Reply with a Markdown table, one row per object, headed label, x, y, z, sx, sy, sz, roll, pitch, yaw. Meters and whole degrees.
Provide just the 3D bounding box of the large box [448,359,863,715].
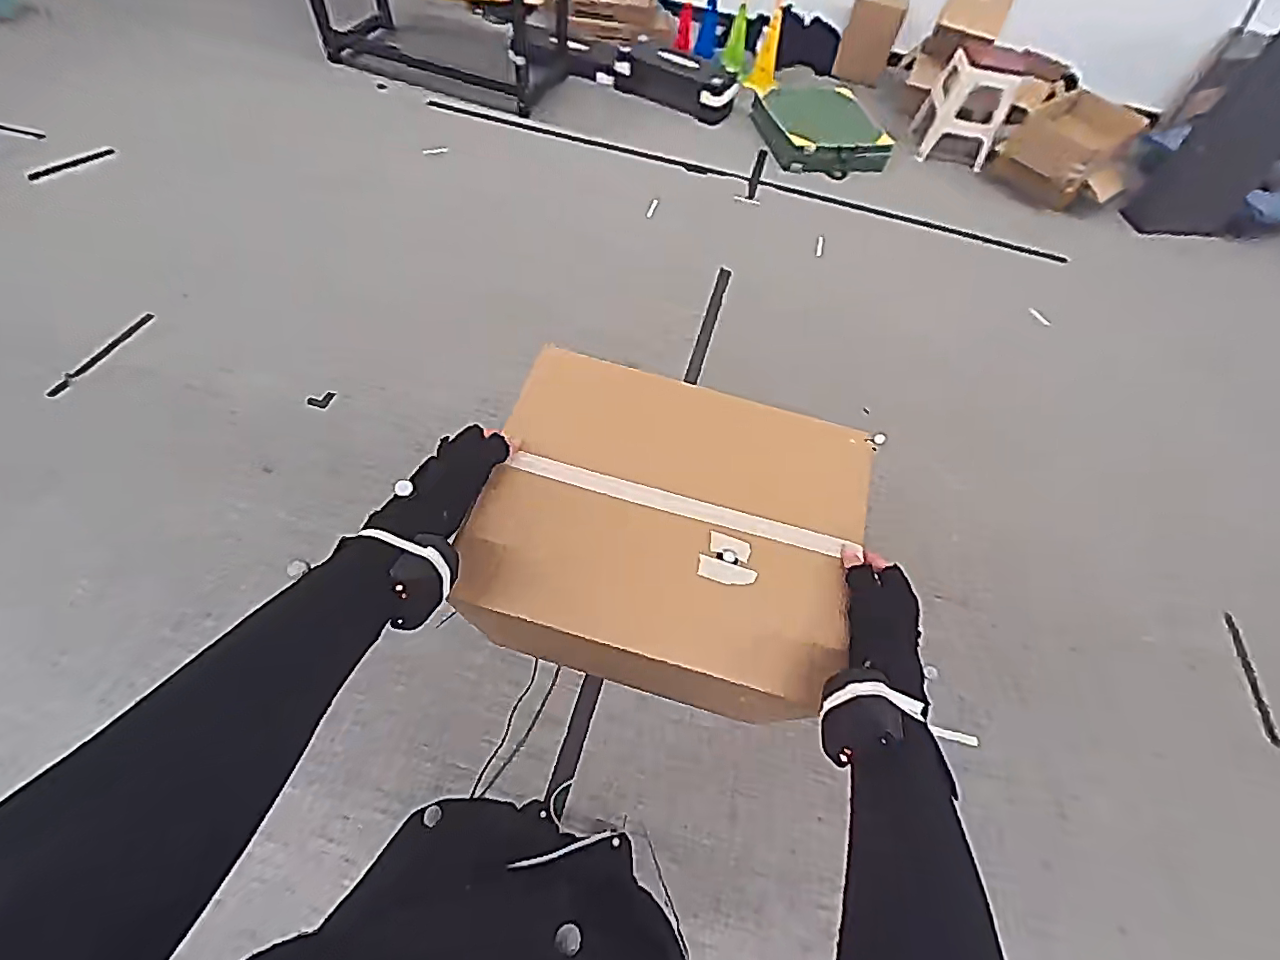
| label | x | y | z | sx | sy | sz | roll | pitch | yaw |
| --- | --- | --- | --- | --- | --- | --- | --- | --- | --- |
| large box | 0.025 | 0.095 | 0.719 | 0.408 | 0.320 | 0.320 | 16 | 65 | 3 |
